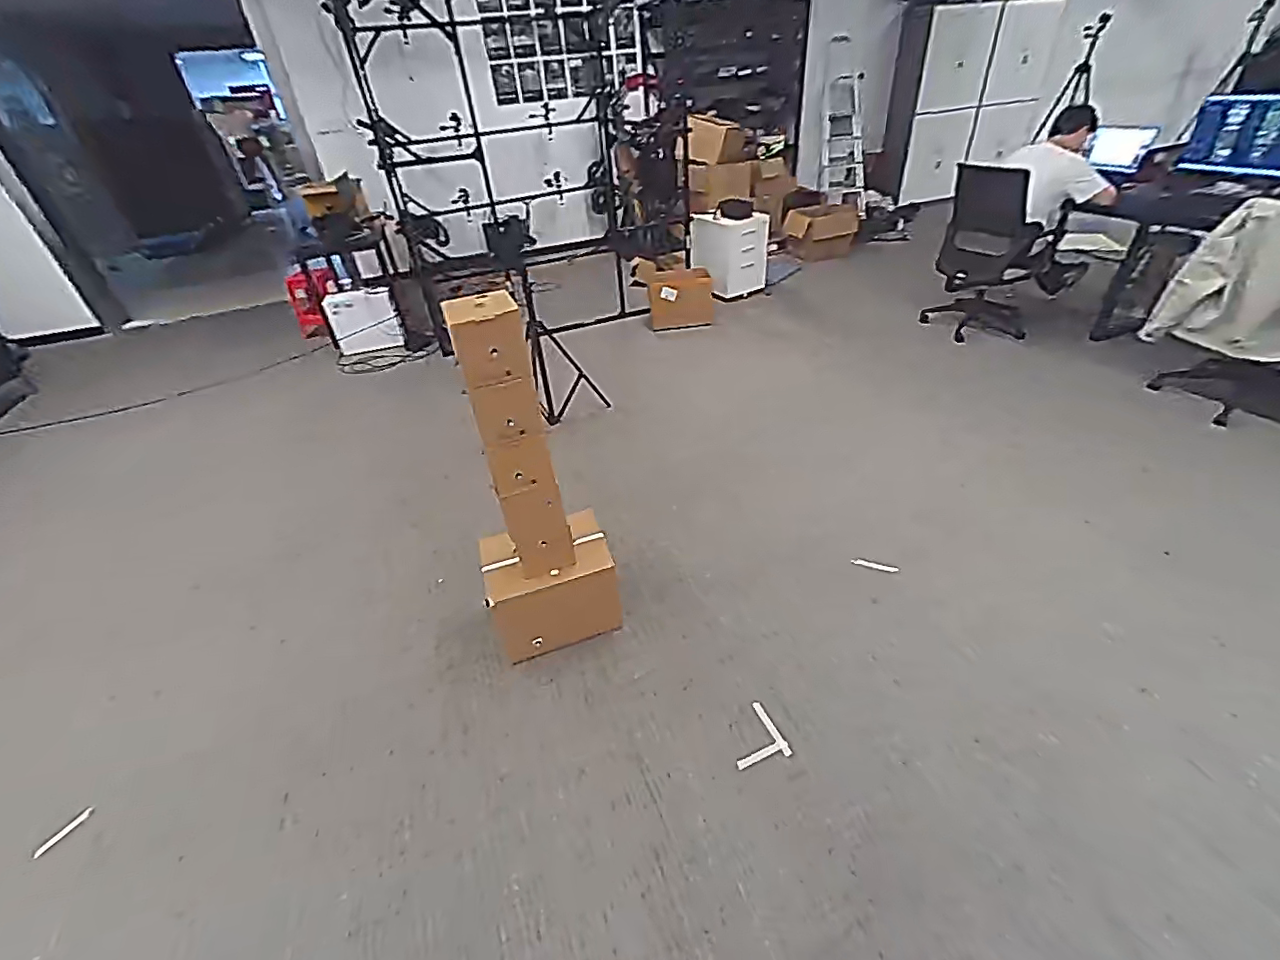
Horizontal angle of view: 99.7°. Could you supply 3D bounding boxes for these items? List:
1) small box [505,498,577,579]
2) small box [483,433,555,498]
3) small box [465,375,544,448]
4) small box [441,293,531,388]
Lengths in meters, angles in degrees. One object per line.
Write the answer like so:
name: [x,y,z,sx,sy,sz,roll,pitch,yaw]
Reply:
small box: [-0.314,0.188,1.725,0.179,0.176,0.168,-16,39,-15]
small box: [-0.351,-0.076,1.536,0.168,0.176,0.179,-16,39,-14]
small box: [-0.365,-0.209,1.440,0.168,0.176,0.179,-18,40,-15]
small box: [-0.379,-0.342,1.345,0.168,0.176,0.179,-17,40,-16]
